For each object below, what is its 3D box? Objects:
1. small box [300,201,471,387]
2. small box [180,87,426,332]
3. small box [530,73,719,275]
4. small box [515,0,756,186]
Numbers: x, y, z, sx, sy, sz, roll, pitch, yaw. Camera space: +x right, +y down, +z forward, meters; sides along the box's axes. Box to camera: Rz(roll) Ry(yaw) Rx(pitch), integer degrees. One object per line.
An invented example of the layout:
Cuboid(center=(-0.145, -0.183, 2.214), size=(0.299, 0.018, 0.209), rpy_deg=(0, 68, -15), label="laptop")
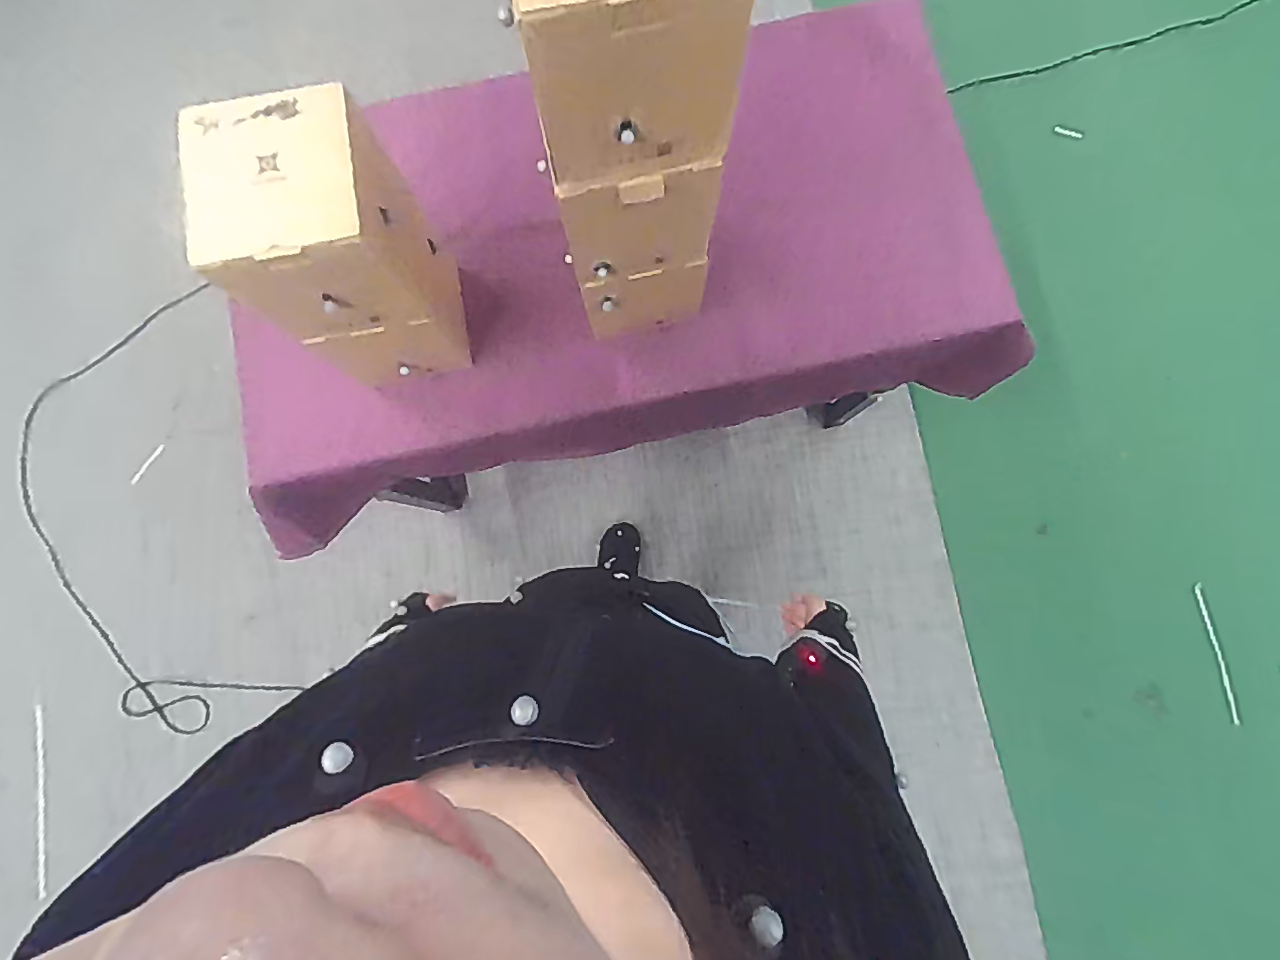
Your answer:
Cuboid(center=(-0.353, -0.251, 0.762), size=(0.168, 0.176, 0.179), rpy_deg=(-11, 81, -1), label="small box")
Cuboid(center=(-0.355, -0.280, 0.600), size=(0.168, 0.176, 0.179), rpy_deg=(-11, 82, -2), label="small box")
Cuboid(center=(-0.016, -0.354, 0.610), size=(0.168, 0.176, 0.179), rpy_deg=(-12, 80, -1), label="small box")
Cuboid(center=(-0.017, -0.389, 0.450), size=(0.168, 0.176, 0.179), rpy_deg=(-13, 82, -2), label="small box")
